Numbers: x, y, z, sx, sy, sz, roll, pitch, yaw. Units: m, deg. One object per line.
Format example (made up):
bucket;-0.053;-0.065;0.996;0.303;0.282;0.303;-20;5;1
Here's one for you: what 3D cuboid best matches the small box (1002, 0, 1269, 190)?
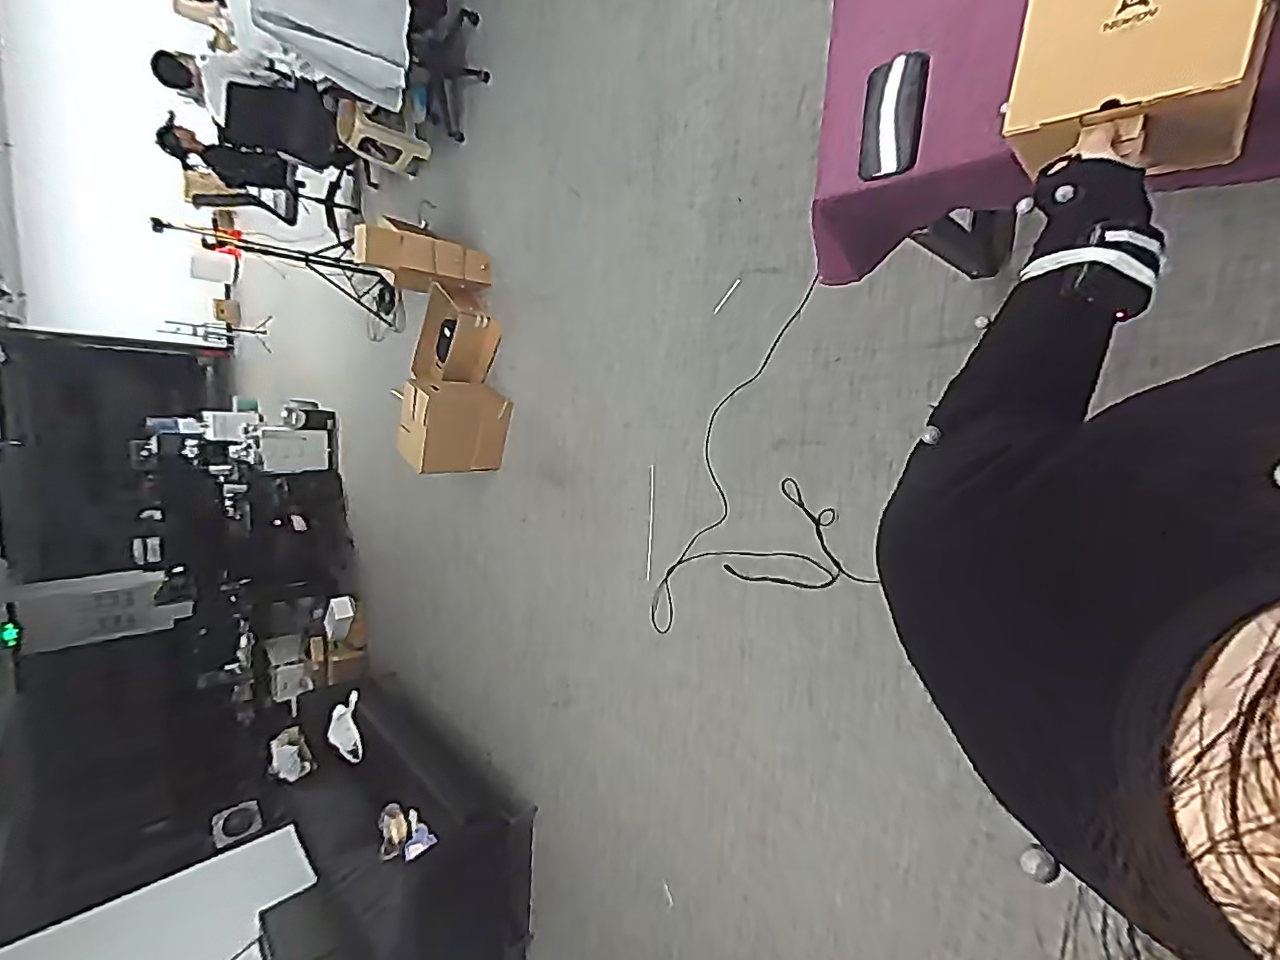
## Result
small box;0.484;-0.415;0.528;0.168;0.176;0.179;16;104;43
